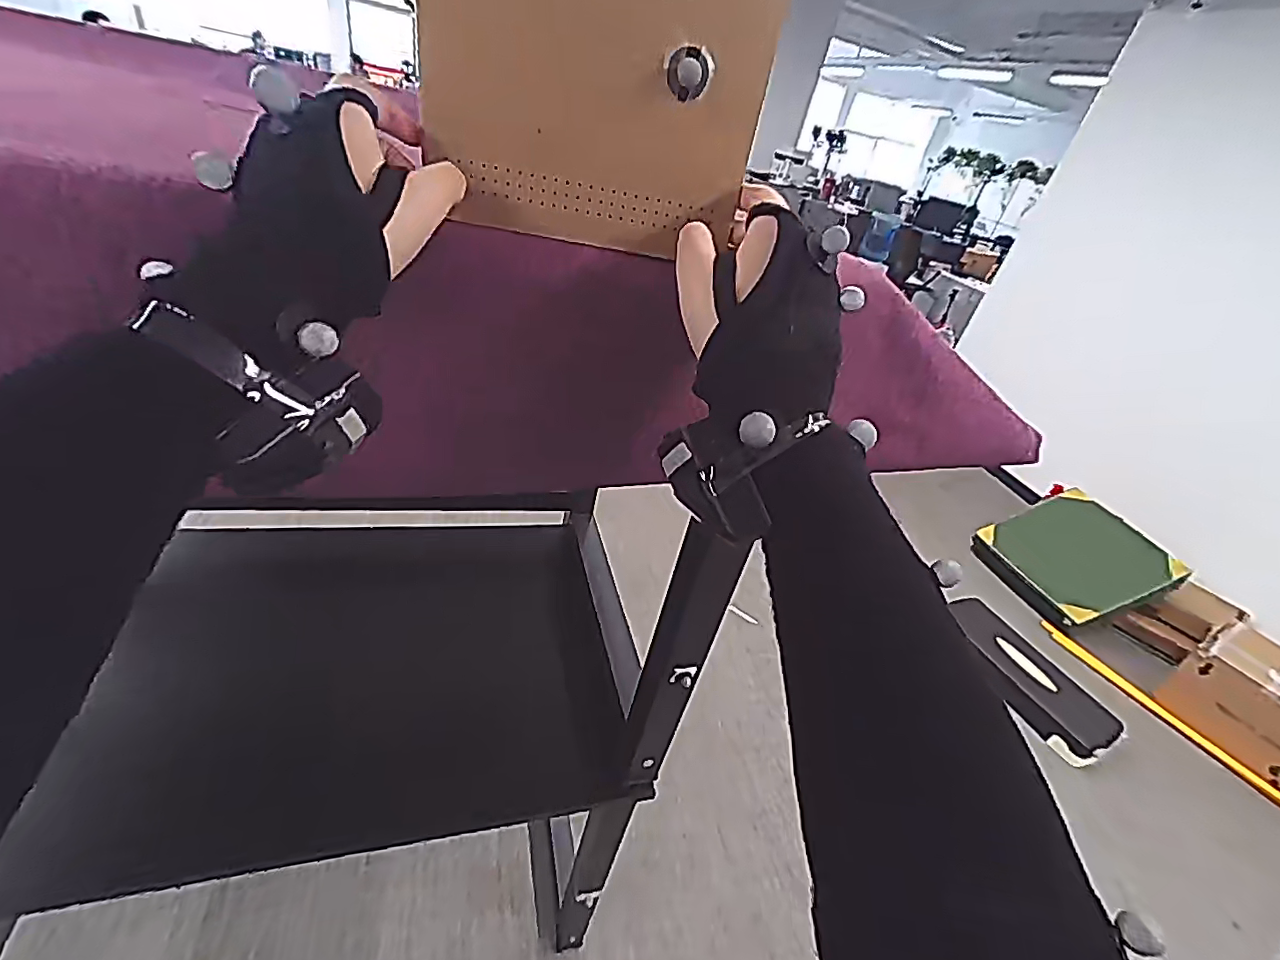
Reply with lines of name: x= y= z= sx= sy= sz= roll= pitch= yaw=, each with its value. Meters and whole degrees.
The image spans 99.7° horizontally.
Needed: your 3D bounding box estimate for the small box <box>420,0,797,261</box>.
small box: x=-0.023 y=-0.244 z=0.328 sx=0.179 sy=0.176 sz=0.168 roll=6 pitch=34 yaw=-10
